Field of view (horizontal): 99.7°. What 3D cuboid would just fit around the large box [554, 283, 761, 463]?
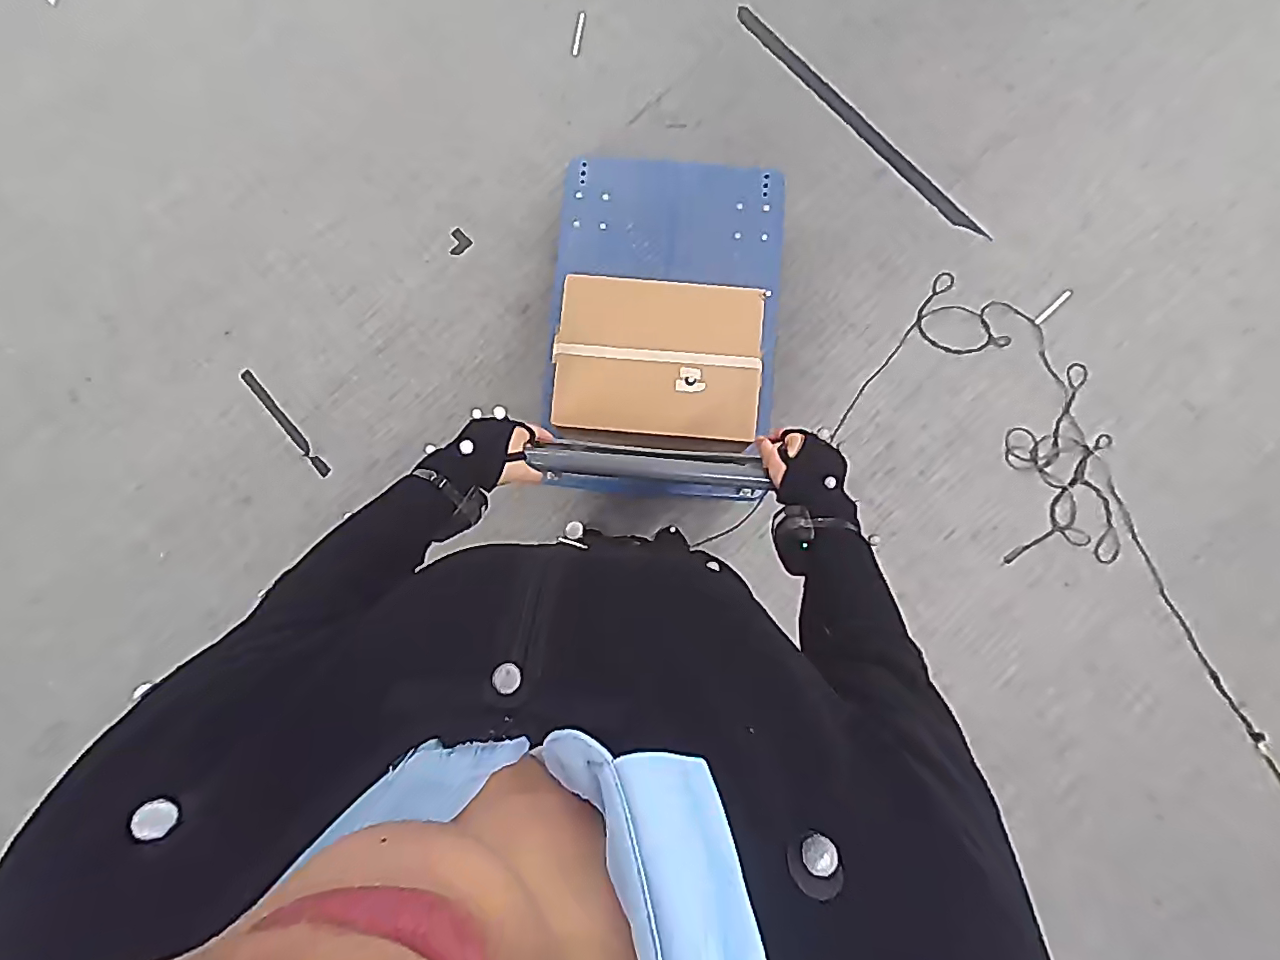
[{"bbox_3d":[0.033,-0.219,1.225,0.408,0.320,0.320,5,86,0],"label":"large box"}]
